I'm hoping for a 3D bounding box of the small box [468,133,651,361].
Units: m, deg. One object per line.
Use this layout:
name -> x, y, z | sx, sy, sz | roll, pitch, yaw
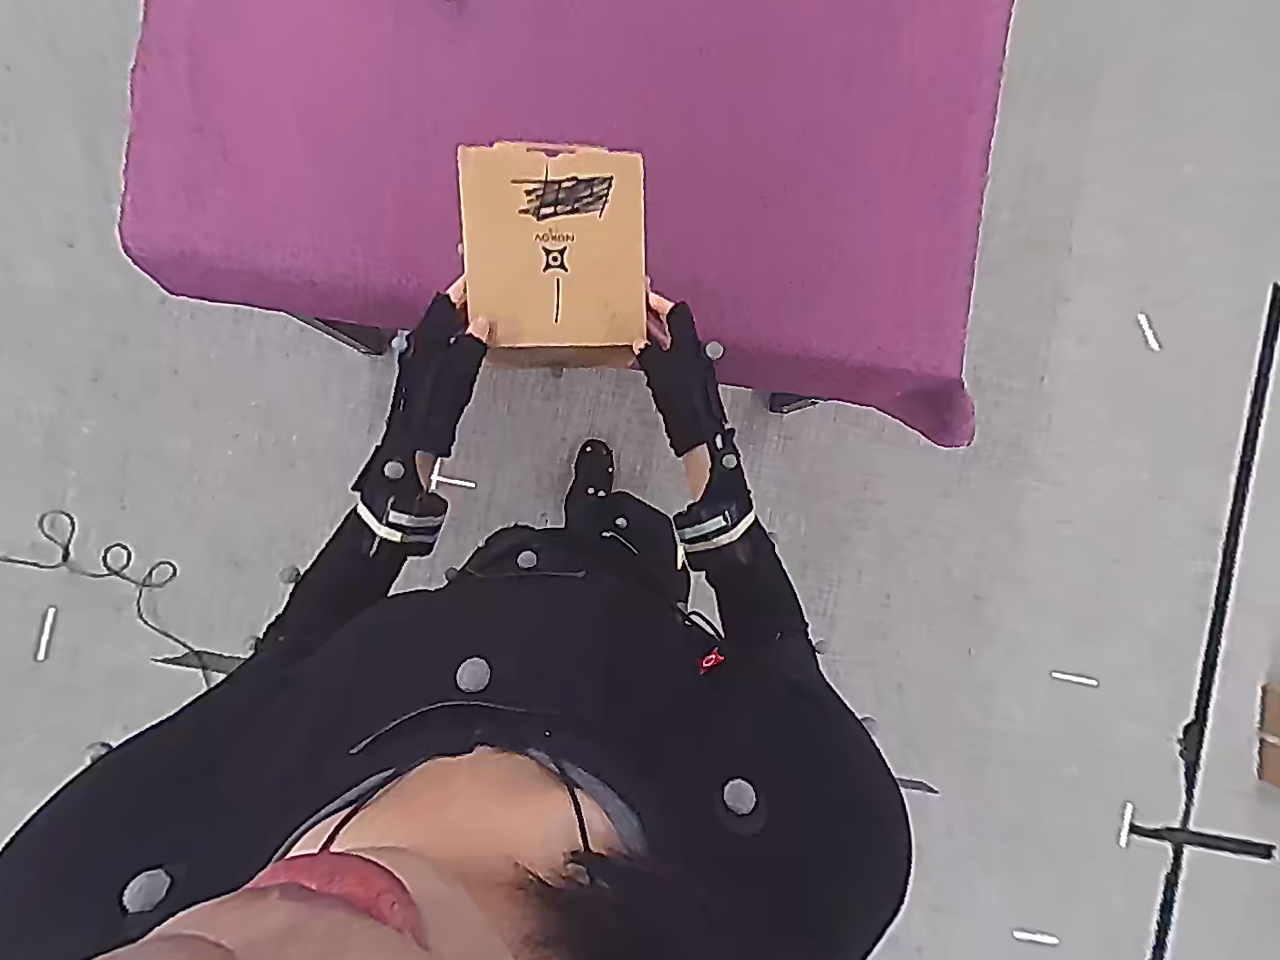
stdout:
small box -> -0.082, -0.226, 0.569 | 0.168, 0.176, 0.179 | -2, 96, -7
